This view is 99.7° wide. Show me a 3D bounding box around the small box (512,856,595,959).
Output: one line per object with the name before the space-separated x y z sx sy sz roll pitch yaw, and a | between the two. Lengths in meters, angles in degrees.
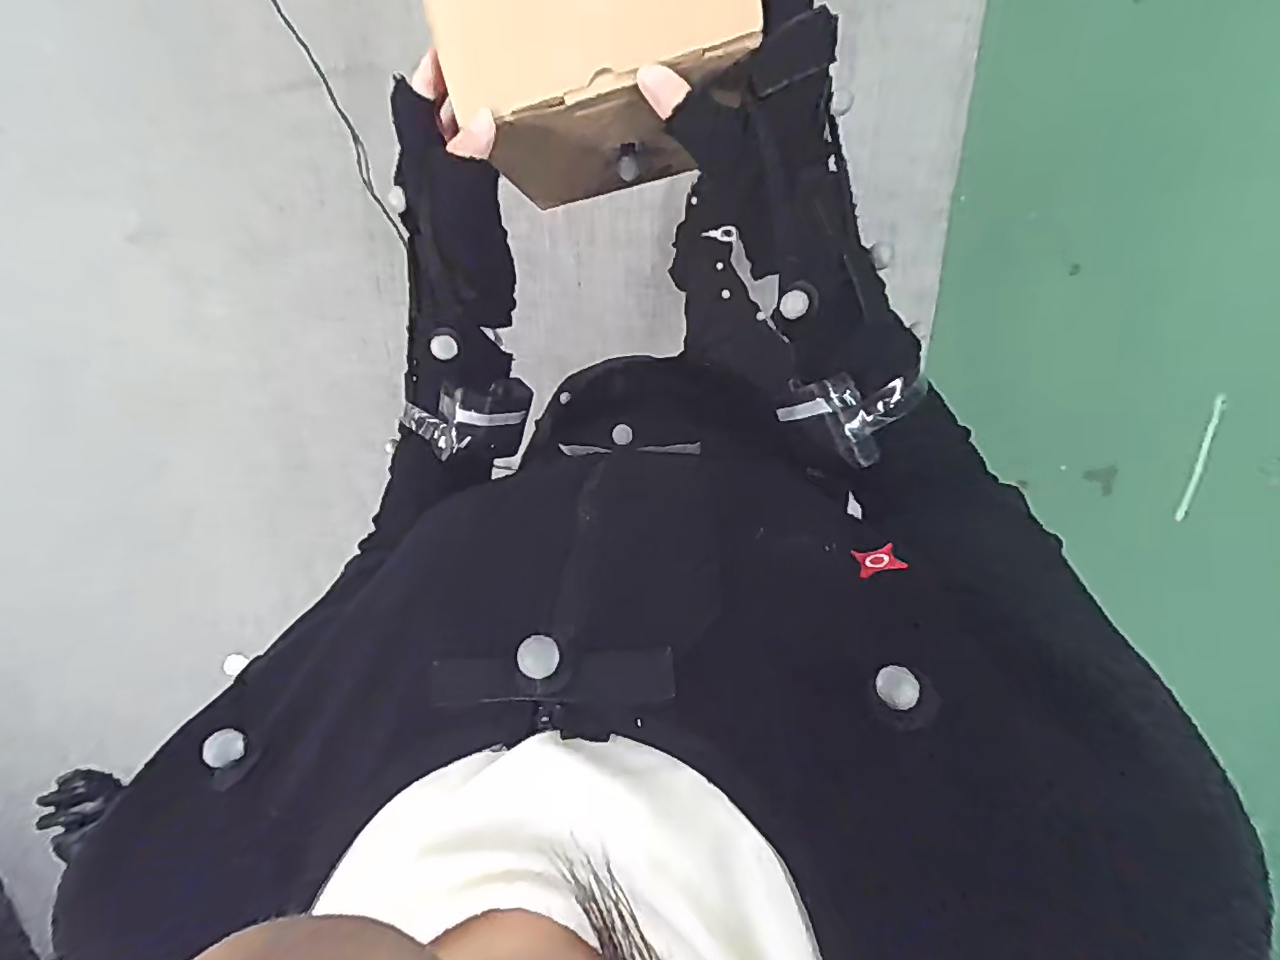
small box | -0.219 1.133 1.430 0.179 0.176 0.168 -3 106 8

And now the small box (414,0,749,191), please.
small box | -0.033 -0.301 0.336 0.168 0.176 0.179 -12 103 8
